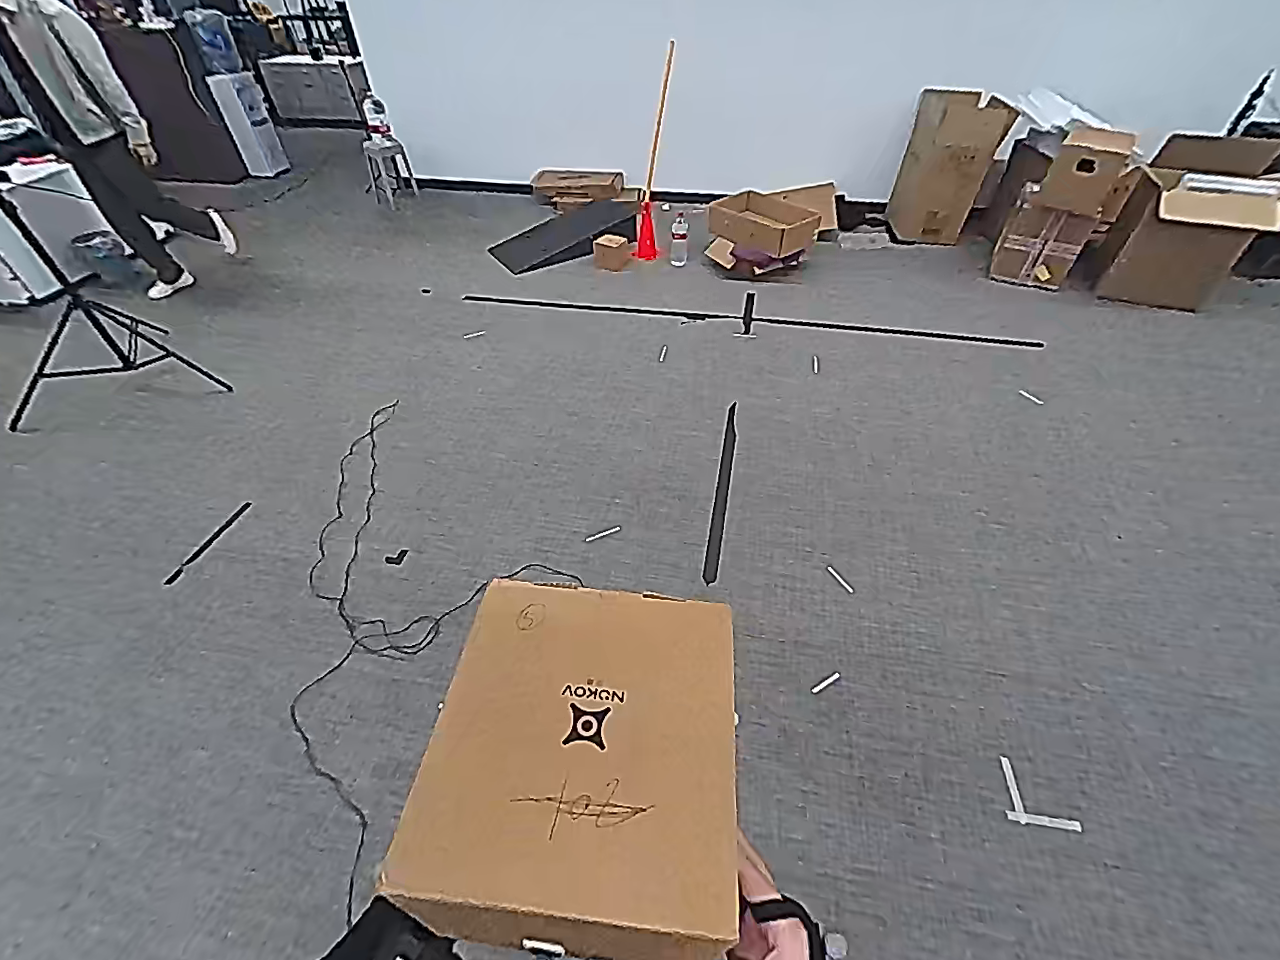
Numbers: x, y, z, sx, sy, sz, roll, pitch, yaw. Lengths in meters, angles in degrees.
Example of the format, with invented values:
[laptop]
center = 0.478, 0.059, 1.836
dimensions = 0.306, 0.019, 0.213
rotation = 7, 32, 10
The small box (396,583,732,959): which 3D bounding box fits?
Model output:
[small box]
center = -0.032, 0.197, 0.368
dimensions = 0.168, 0.176, 0.179
rotation = 5, 44, 3
